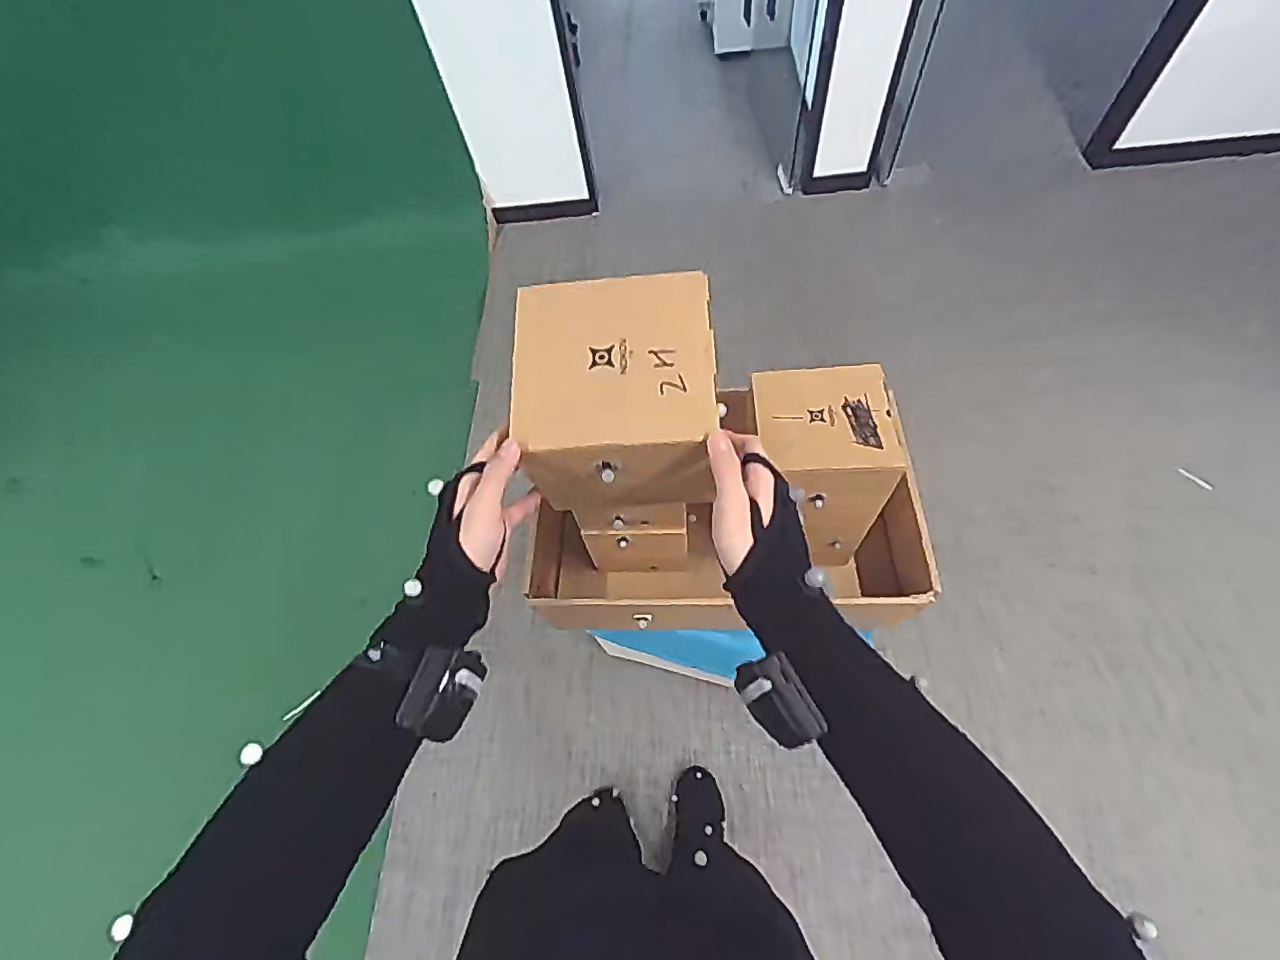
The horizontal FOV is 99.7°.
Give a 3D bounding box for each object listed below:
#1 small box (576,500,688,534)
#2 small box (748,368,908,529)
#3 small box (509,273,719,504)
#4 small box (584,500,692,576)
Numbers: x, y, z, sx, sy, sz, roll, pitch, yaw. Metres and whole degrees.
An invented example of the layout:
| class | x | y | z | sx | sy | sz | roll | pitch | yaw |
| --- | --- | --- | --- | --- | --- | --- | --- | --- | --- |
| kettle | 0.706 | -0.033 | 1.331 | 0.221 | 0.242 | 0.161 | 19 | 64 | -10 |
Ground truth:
| class | x | y | z | sx | sy | sz | roll | pitch | yaw |
| --- | --- | --- | --- | --- | --- | --- | --- | --- | --- |
| small box | -0.013 | -0.034 | 0.800 | 0.168 | 0.176 | 0.179 | -1 | 60 | 6 |
| small box | 0.250 | -0.039 | 0.768 | 0.179 | 0.176 | 0.168 | -2 | 59 | 7 |
| small box | -0.015 | -0.078 | 0.540 | 0.179 | 0.176 | 0.168 | -3 | 70 | 5 |
| small box | 0.005 | 0.053 | 0.937 | 0.168 | 0.176 | 0.179 | -2 | 59 | 6 |
